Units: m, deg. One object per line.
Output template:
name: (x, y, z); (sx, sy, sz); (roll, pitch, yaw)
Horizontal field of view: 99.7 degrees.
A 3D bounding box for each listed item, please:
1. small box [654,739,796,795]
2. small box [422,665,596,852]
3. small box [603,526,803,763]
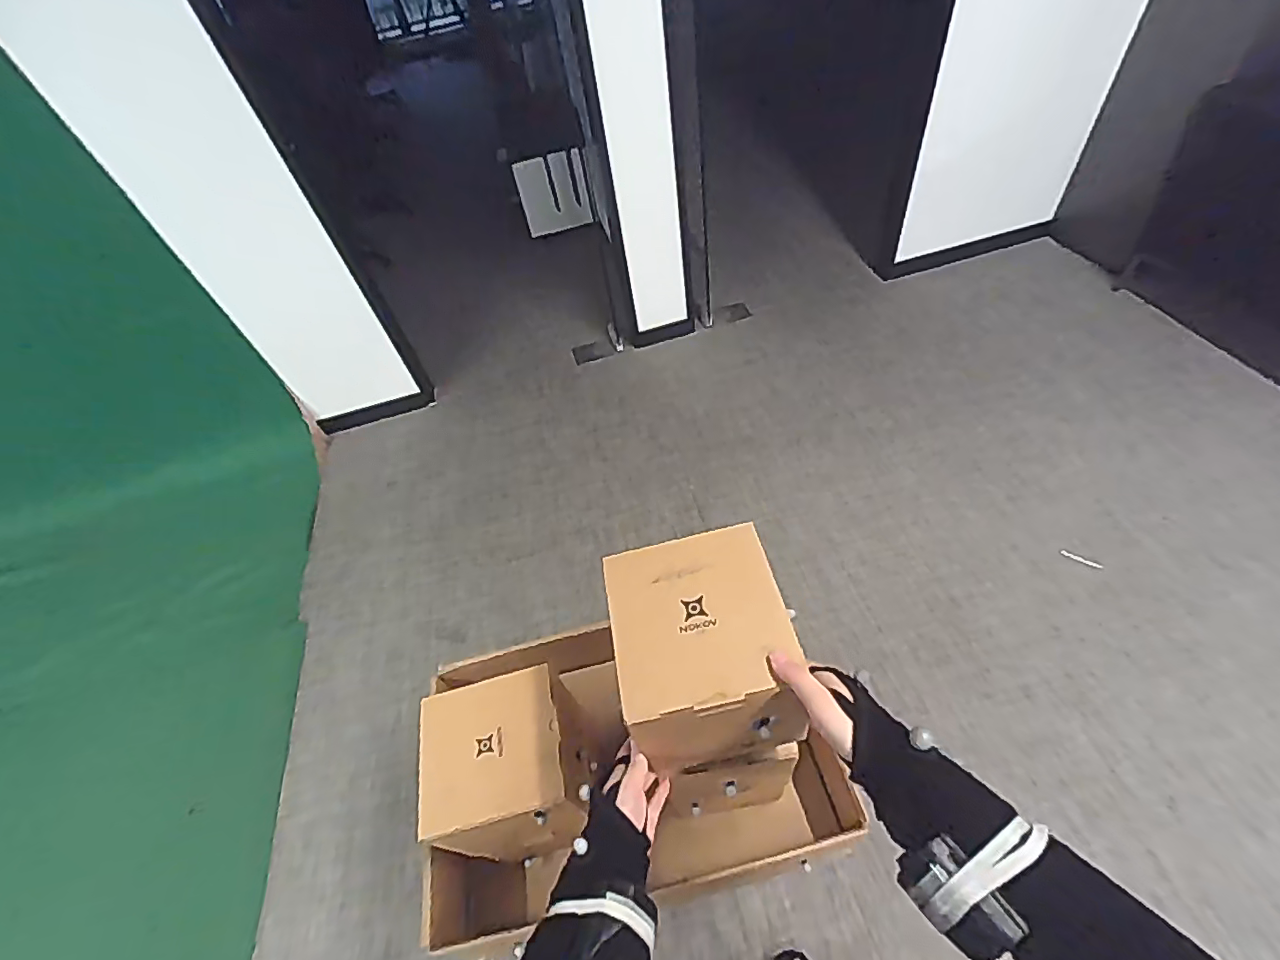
small box: (0.103, 0.313, 0.731); (0.168, 0.176, 0.179); (-11, 51, 2)
small box: (-0.172, 0.381, 0.733); (0.179, 0.176, 0.168); (-15, 50, -3)
small box: (0.066, 0.182, 0.575); (0.168, 0.176, 0.179); (-14, 47, 3)
